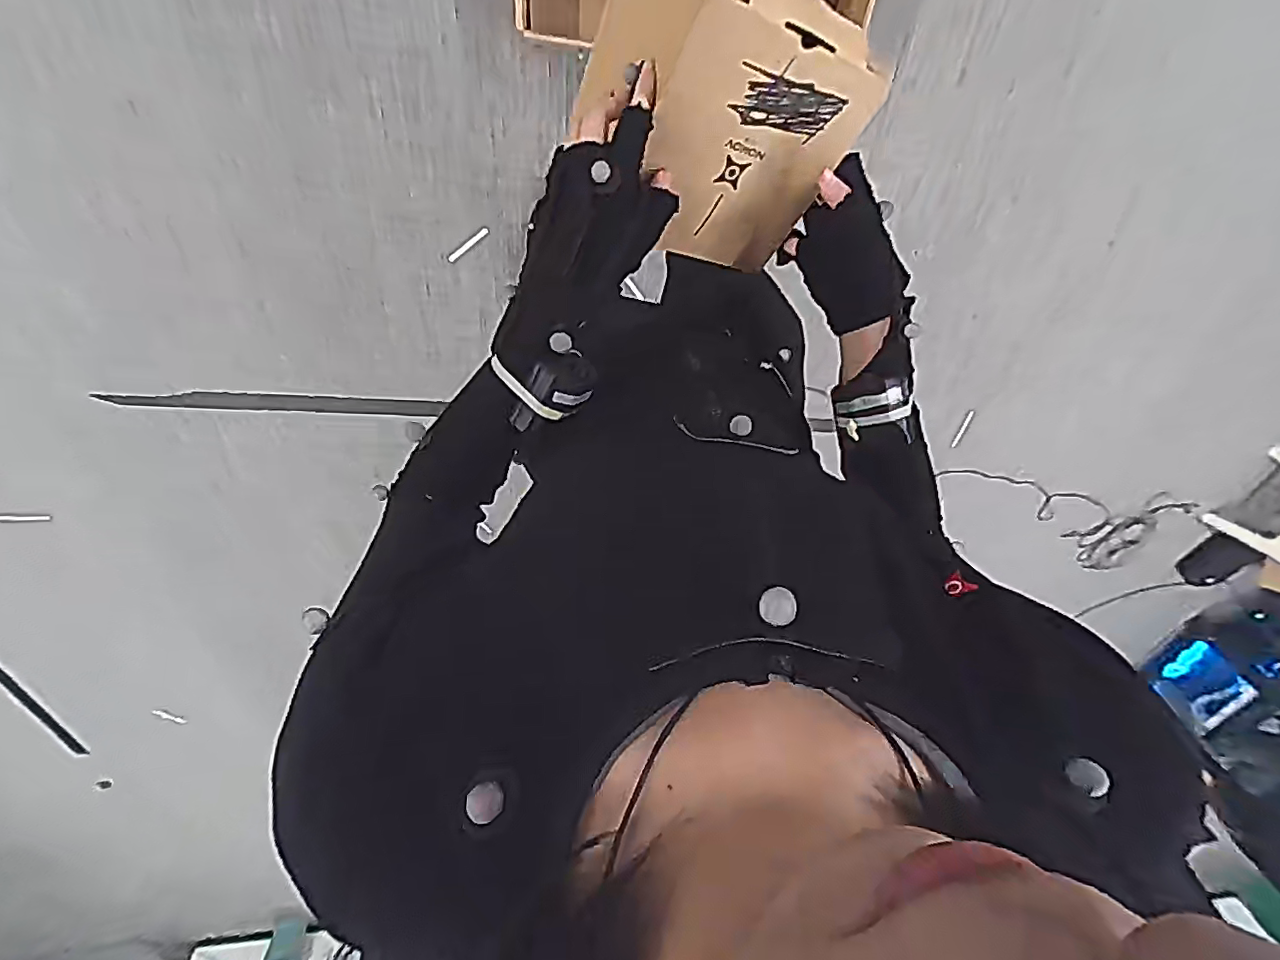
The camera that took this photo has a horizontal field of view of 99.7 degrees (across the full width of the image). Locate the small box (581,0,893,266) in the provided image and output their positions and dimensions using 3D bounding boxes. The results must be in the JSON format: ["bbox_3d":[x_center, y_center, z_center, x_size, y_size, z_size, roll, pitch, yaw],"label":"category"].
[{"bbox_3d":[0.061,-0.319,0.453,0.168,0.176,0.179,2,147,-27],"label":"small box"}]
